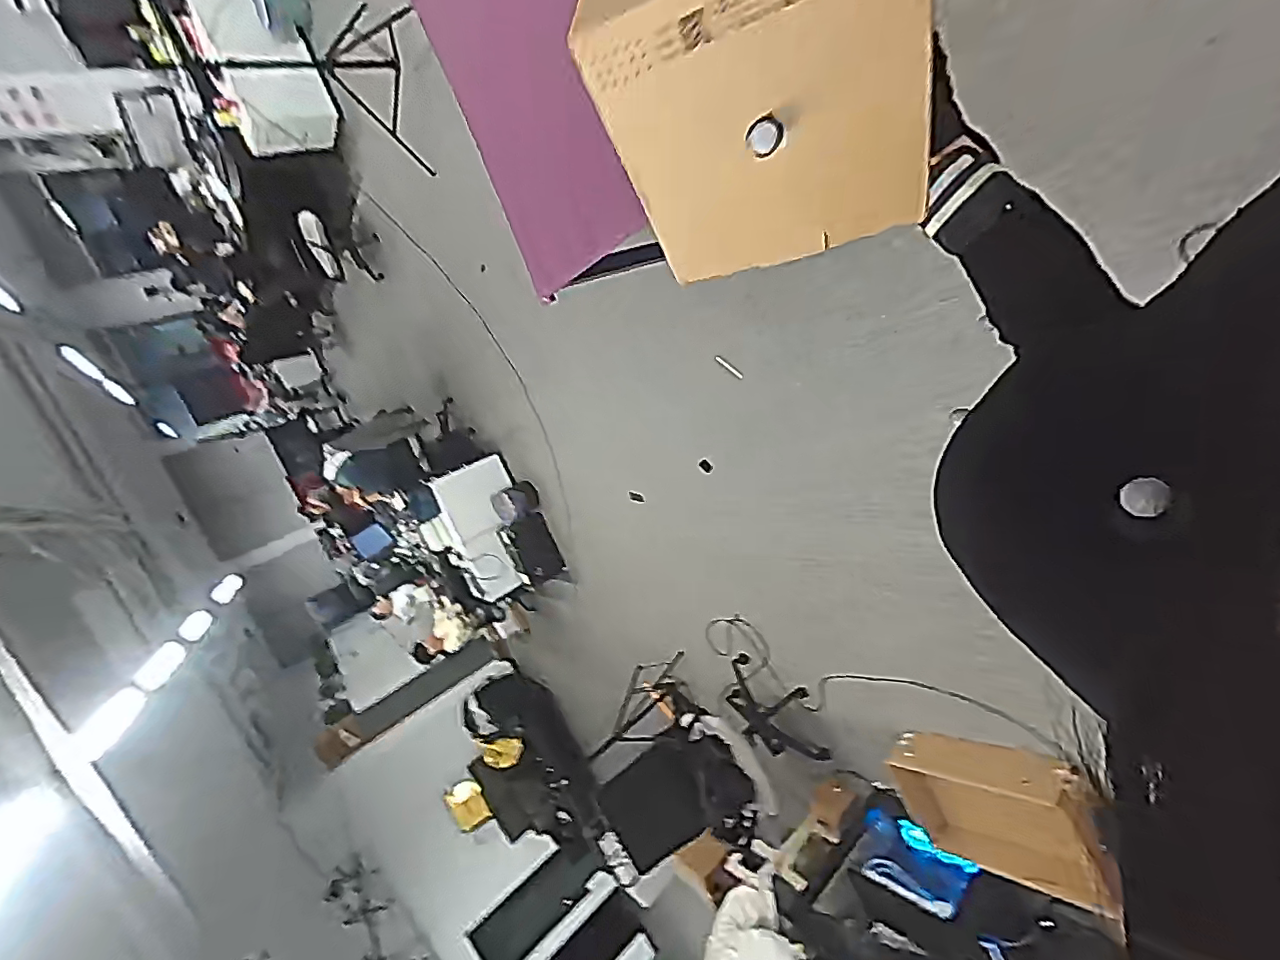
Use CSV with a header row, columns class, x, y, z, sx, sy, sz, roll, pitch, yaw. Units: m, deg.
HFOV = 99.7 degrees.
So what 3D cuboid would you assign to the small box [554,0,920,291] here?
class,x,y,z,sx,sy,sz,roll,pitch,yaw
small box,0.065,-0.259,0.334,0.168,0.179,0.176,-9,147,24
